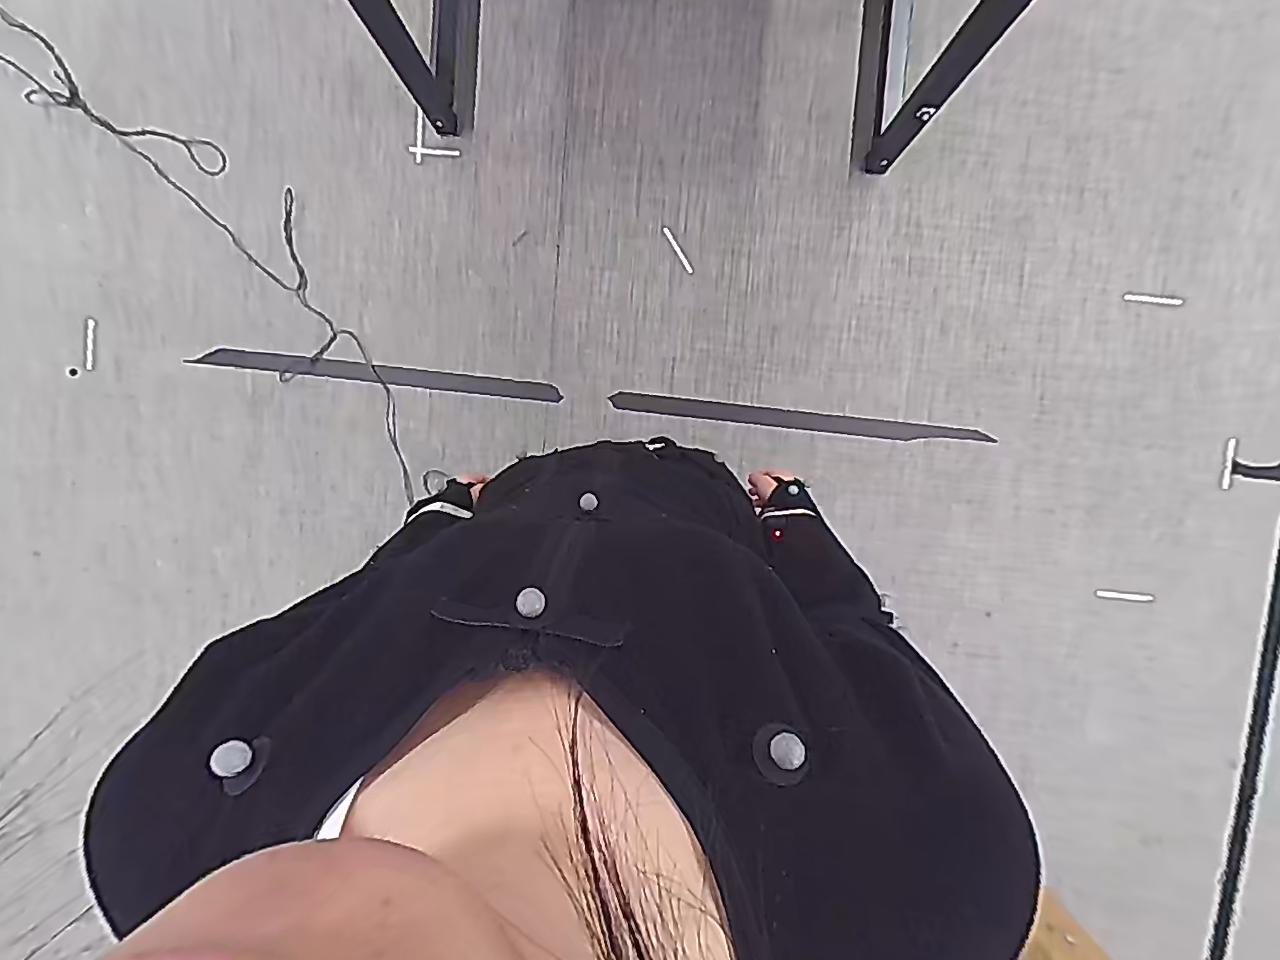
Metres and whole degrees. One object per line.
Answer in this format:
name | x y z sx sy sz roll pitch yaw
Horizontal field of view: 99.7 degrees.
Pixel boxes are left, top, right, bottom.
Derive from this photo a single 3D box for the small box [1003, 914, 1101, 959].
small box | 1.027 1.222 1.321 0.168 0.176 0.179 9 93 -1
